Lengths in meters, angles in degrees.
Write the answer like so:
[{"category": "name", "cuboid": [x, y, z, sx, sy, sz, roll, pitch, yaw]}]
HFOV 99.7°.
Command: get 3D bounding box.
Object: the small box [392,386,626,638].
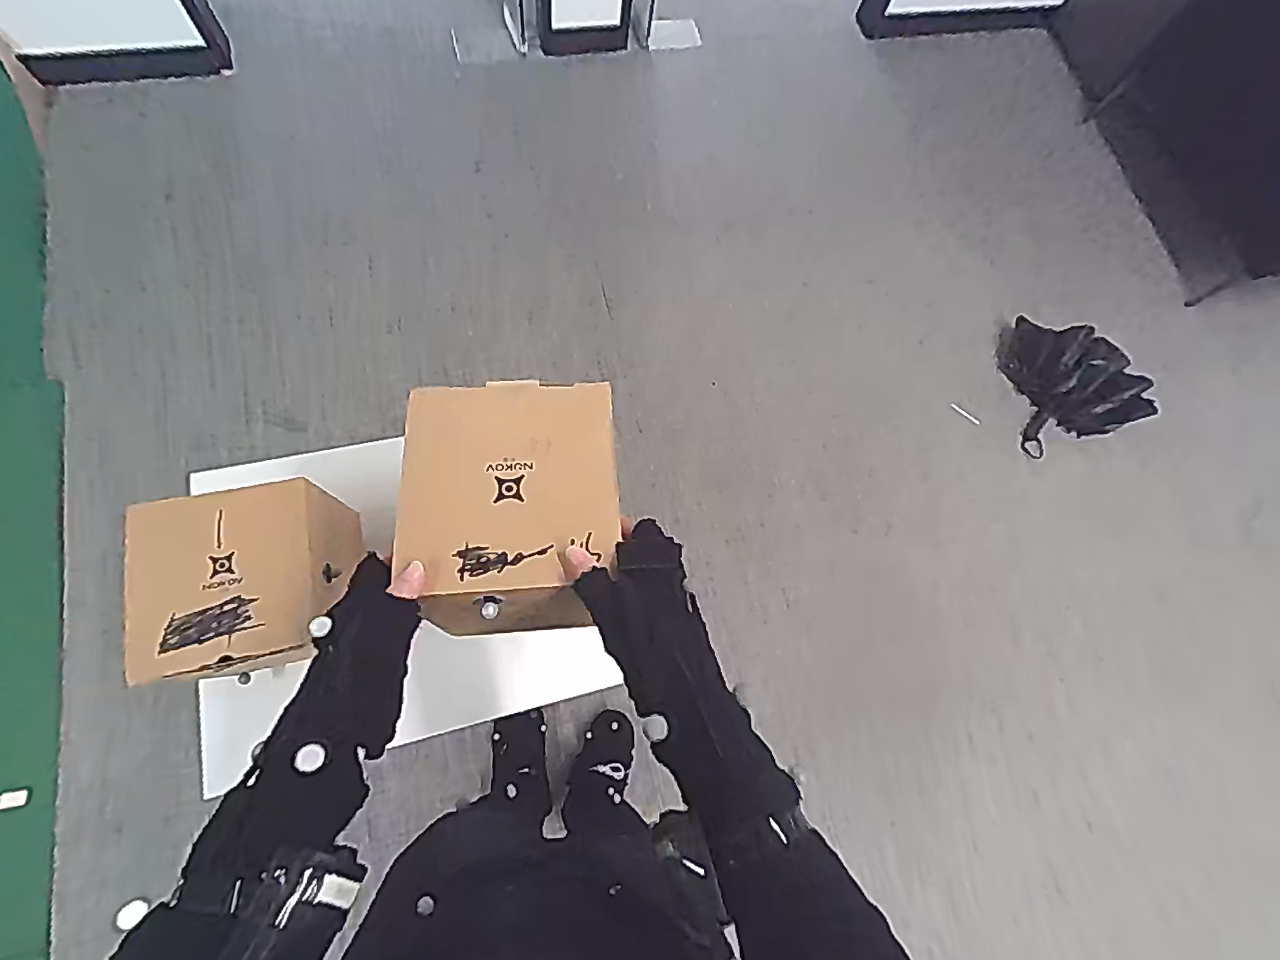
[{"category": "small box", "cuboid": [-0.102, 0.035, 0.489, 0.168, 0.176, 0.179, -2, 64, -4]}]
